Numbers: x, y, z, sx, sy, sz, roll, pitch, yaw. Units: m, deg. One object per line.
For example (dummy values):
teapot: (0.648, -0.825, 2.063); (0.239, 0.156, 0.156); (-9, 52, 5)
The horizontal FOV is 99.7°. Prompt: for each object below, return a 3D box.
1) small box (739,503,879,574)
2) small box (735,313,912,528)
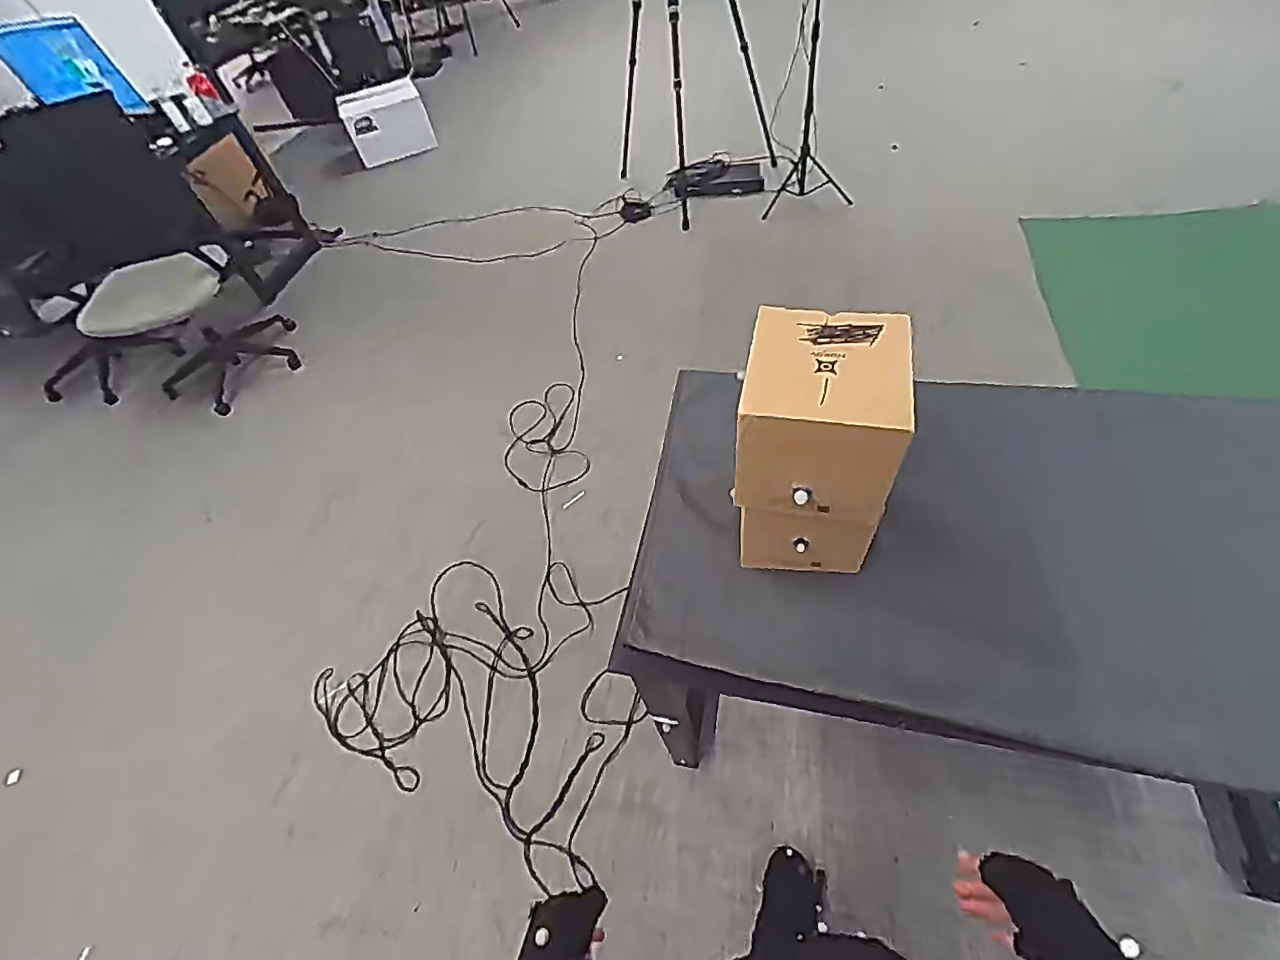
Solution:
small box: (0.228, 0.019, 0.768); (0.168, 0.176, 0.179); (2, 52, 9)
small box: (0.205, -0.069, 0.631); (0.168, 0.176, 0.179); (8, 55, 15)
